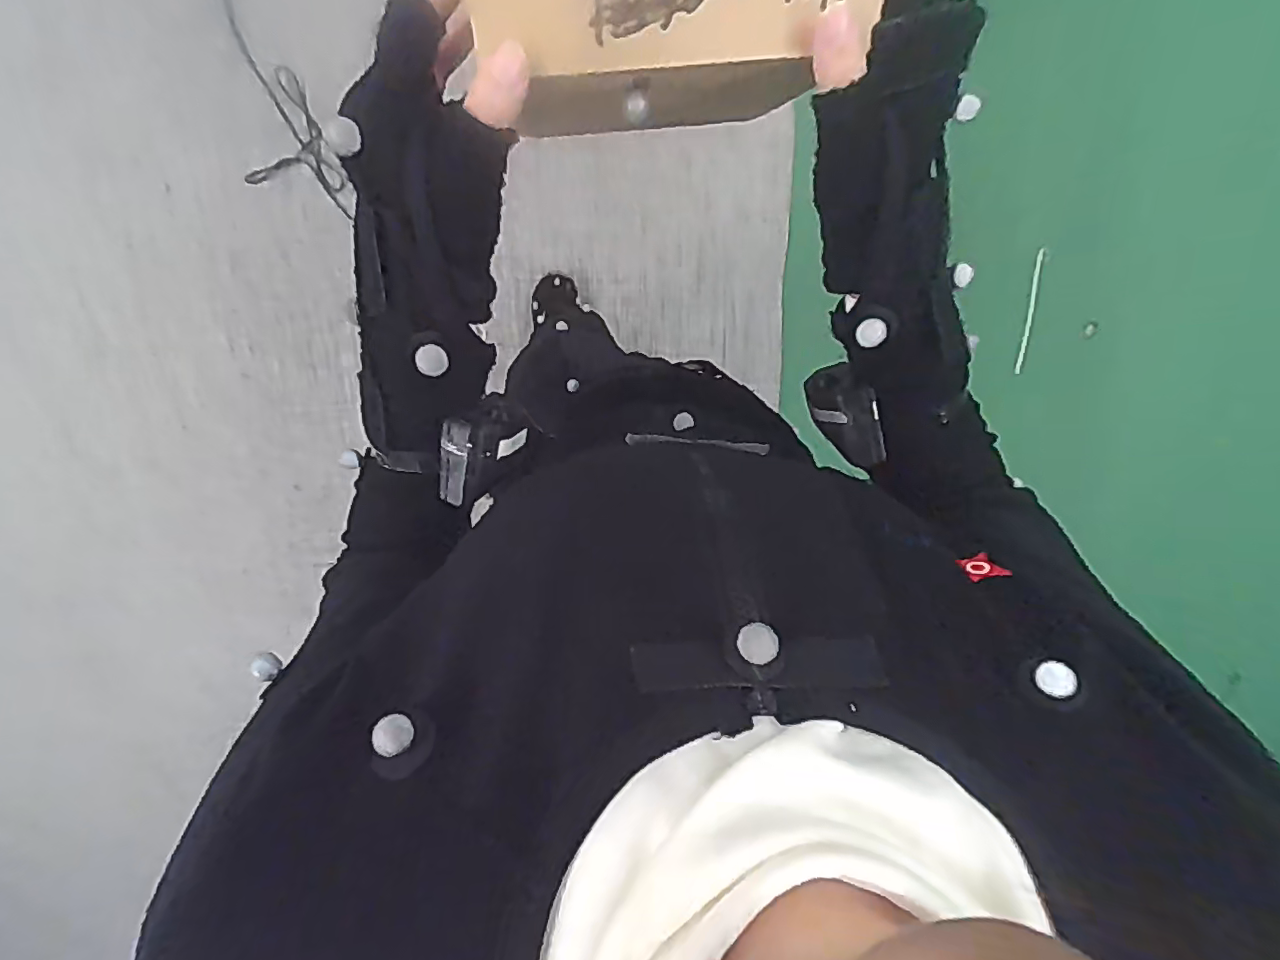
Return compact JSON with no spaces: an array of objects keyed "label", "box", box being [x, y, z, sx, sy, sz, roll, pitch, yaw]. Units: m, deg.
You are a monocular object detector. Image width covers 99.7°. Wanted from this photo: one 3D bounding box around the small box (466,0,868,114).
[{"label":"small box","box":[-0.001,-0.296,0.253,0.168,0.176,0.179,-7,115,-3]}]
